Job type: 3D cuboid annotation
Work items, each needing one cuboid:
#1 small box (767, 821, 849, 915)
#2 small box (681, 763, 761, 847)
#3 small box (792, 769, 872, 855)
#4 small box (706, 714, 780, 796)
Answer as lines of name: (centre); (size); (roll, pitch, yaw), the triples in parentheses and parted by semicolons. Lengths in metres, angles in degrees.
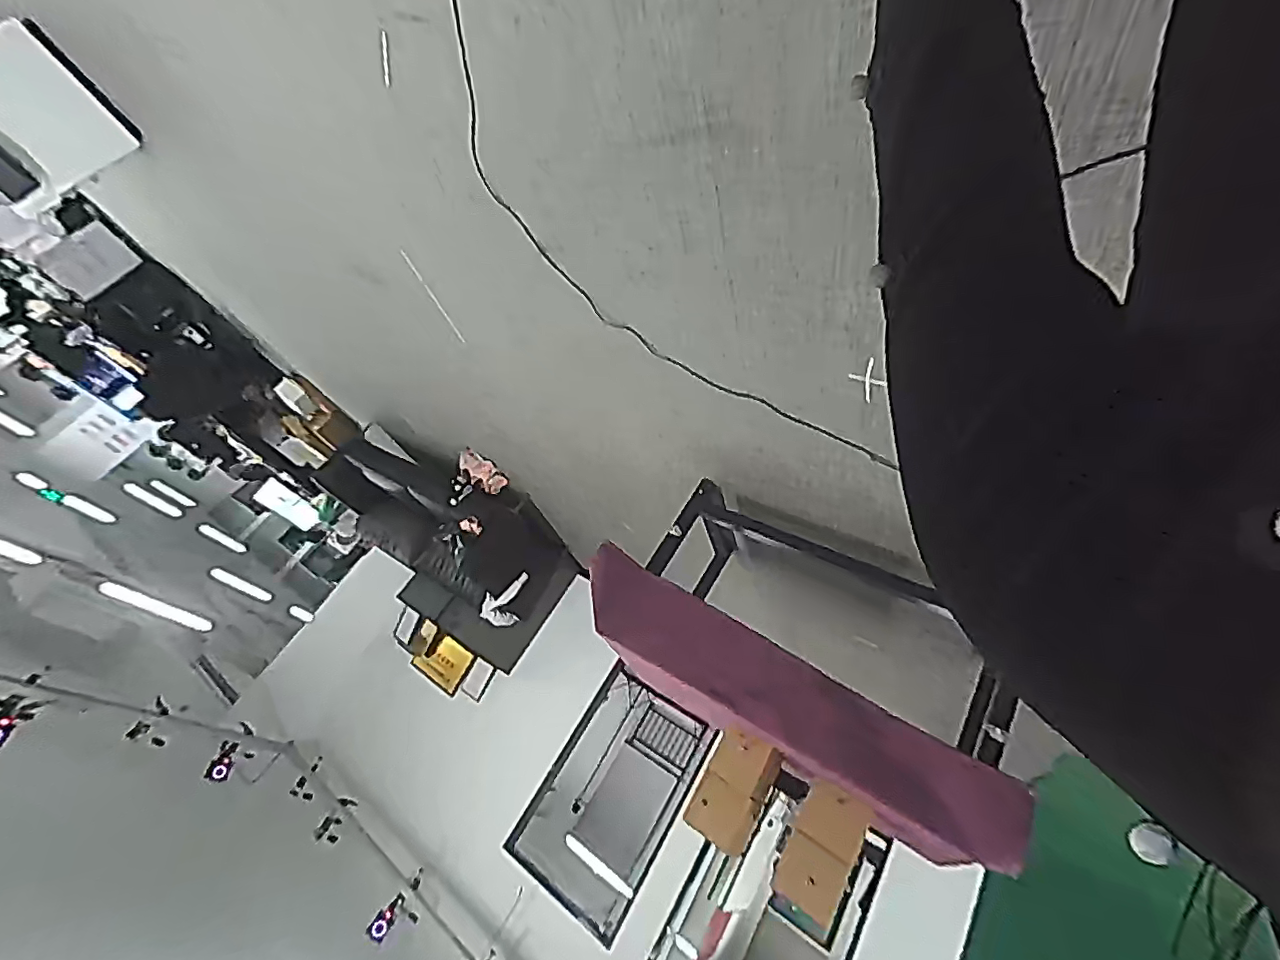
small box: (0.500, 1.139, 1.600); (0.179, 0.176, 0.168); (20, 154, 32)
small box: (0.267, 1.046, 1.756); (0.179, 0.176, 0.168); (18, 154, 35)
small box: (0.589, 1.014, 1.659); (0.179, 0.176, 0.168); (21, 155, 32)
small box: (0.353, 0.923, 1.819); (0.168, 0.176, 0.179); (17, 152, 37)
